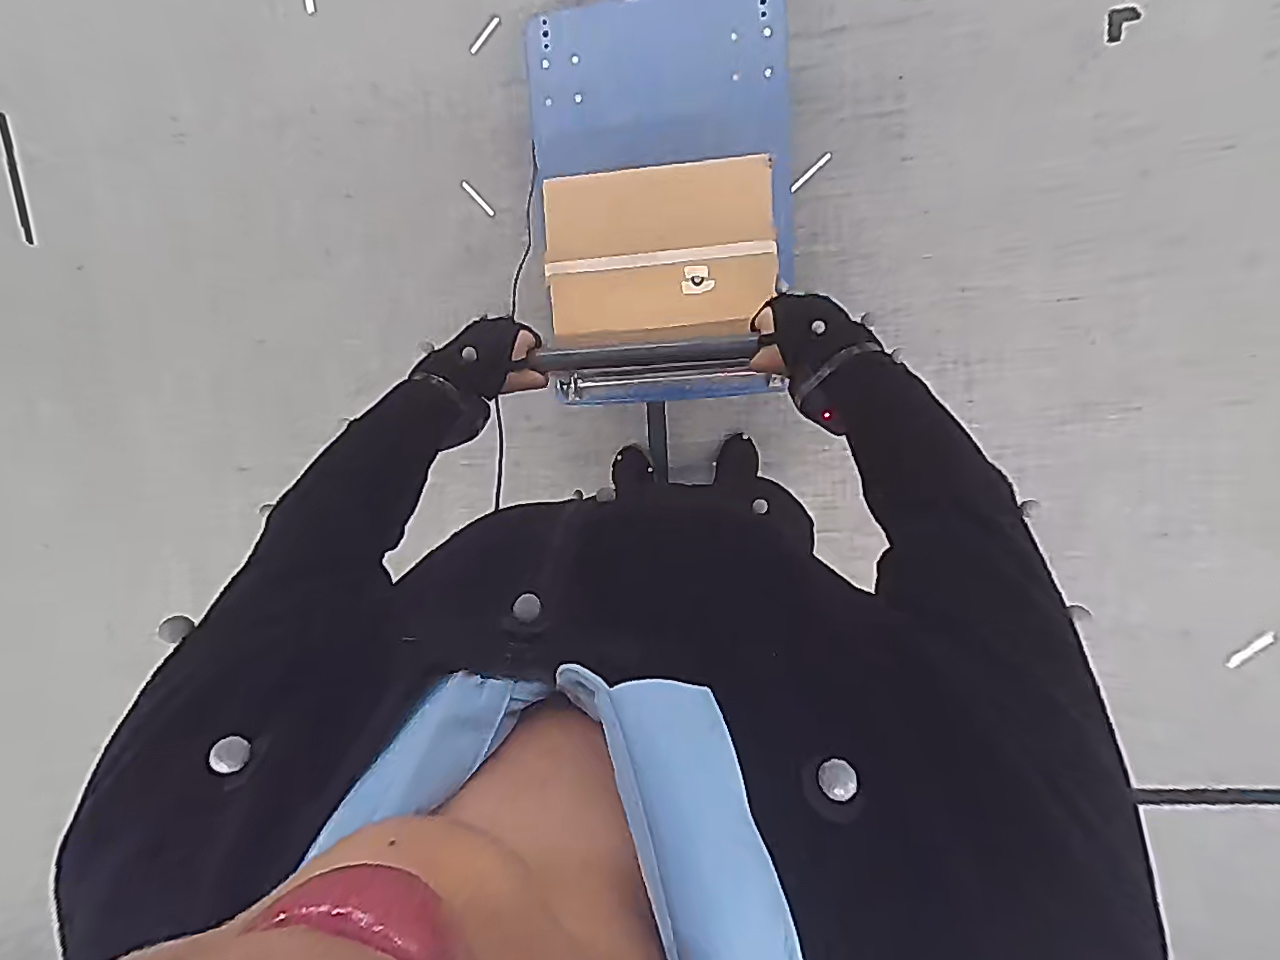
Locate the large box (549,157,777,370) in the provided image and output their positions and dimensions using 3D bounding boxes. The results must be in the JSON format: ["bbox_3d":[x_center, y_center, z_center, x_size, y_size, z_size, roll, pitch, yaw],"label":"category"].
[{"bbox_3d":[0.052,-0.416,1.127,0.408,0.320,0.320,-3,96,5],"label":"large box"}]
